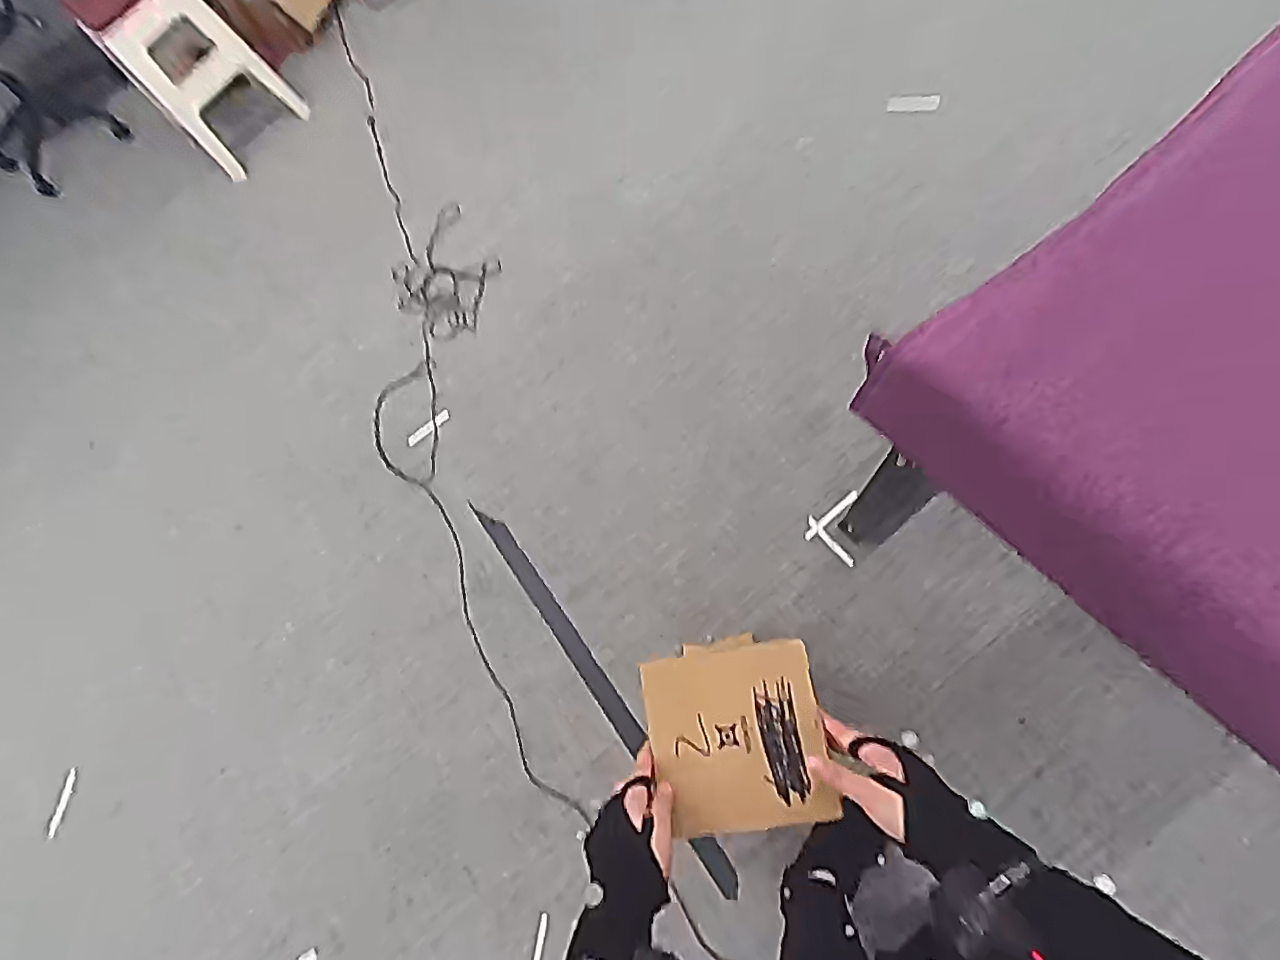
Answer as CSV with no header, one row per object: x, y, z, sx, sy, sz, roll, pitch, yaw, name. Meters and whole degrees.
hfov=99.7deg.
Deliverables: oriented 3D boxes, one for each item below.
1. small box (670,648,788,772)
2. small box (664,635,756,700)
0.154,0.380,0.924,0.179,0.176,0.168,2,73,12,small box
0.164,0.419,1.085,0.179,0.176,0.168,-19,70,5,small box
